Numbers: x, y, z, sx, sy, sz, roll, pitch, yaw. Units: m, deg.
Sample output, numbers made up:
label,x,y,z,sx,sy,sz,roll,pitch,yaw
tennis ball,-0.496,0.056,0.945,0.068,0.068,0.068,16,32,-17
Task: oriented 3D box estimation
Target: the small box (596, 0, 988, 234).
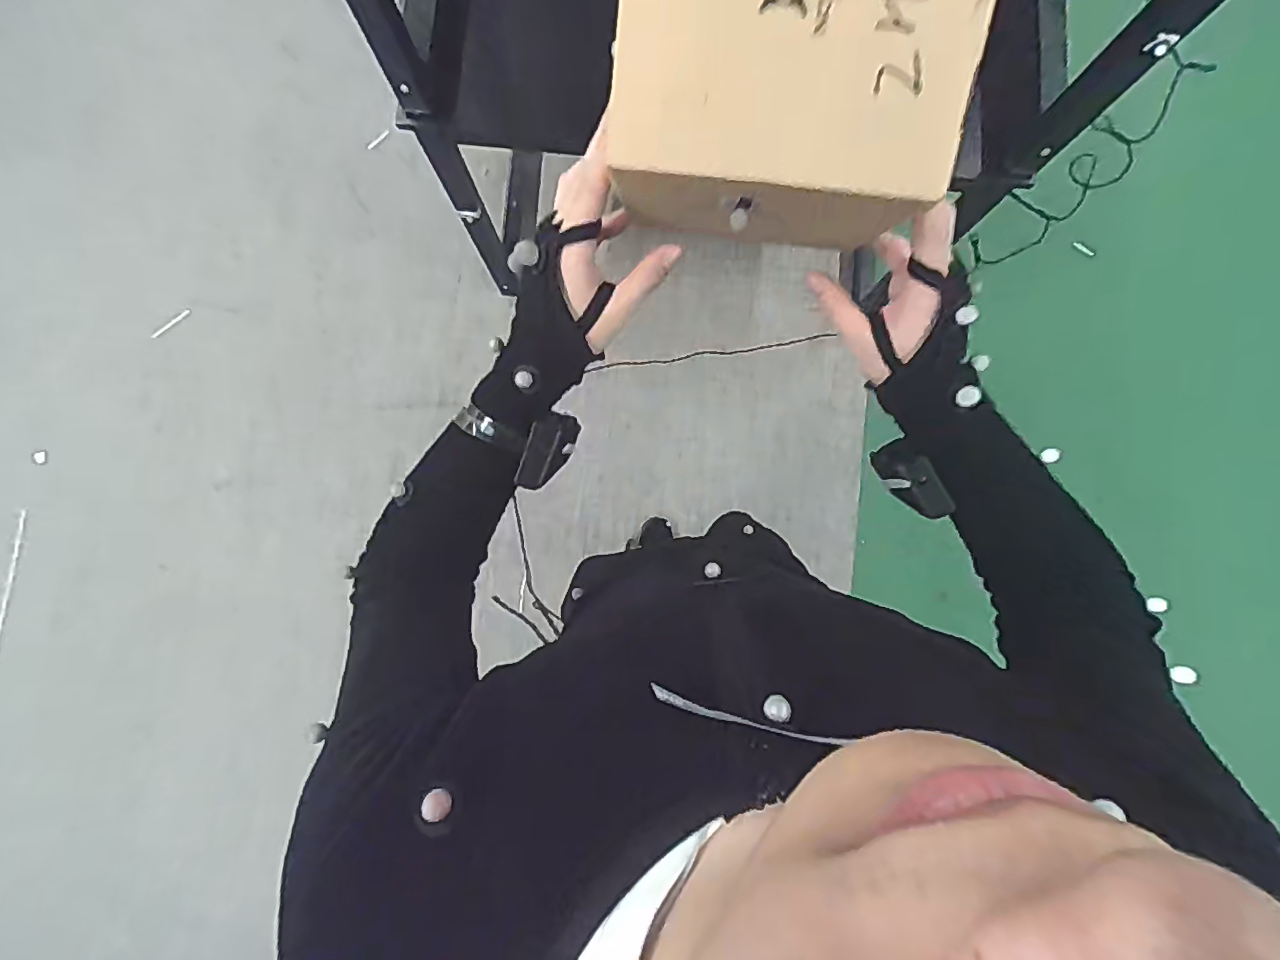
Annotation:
label,x,y,z,sx,sy,sz,roll,pitch,yaw
small box,0.080,-0.255,0.324,0.179,0.176,0.168,8,106,3
